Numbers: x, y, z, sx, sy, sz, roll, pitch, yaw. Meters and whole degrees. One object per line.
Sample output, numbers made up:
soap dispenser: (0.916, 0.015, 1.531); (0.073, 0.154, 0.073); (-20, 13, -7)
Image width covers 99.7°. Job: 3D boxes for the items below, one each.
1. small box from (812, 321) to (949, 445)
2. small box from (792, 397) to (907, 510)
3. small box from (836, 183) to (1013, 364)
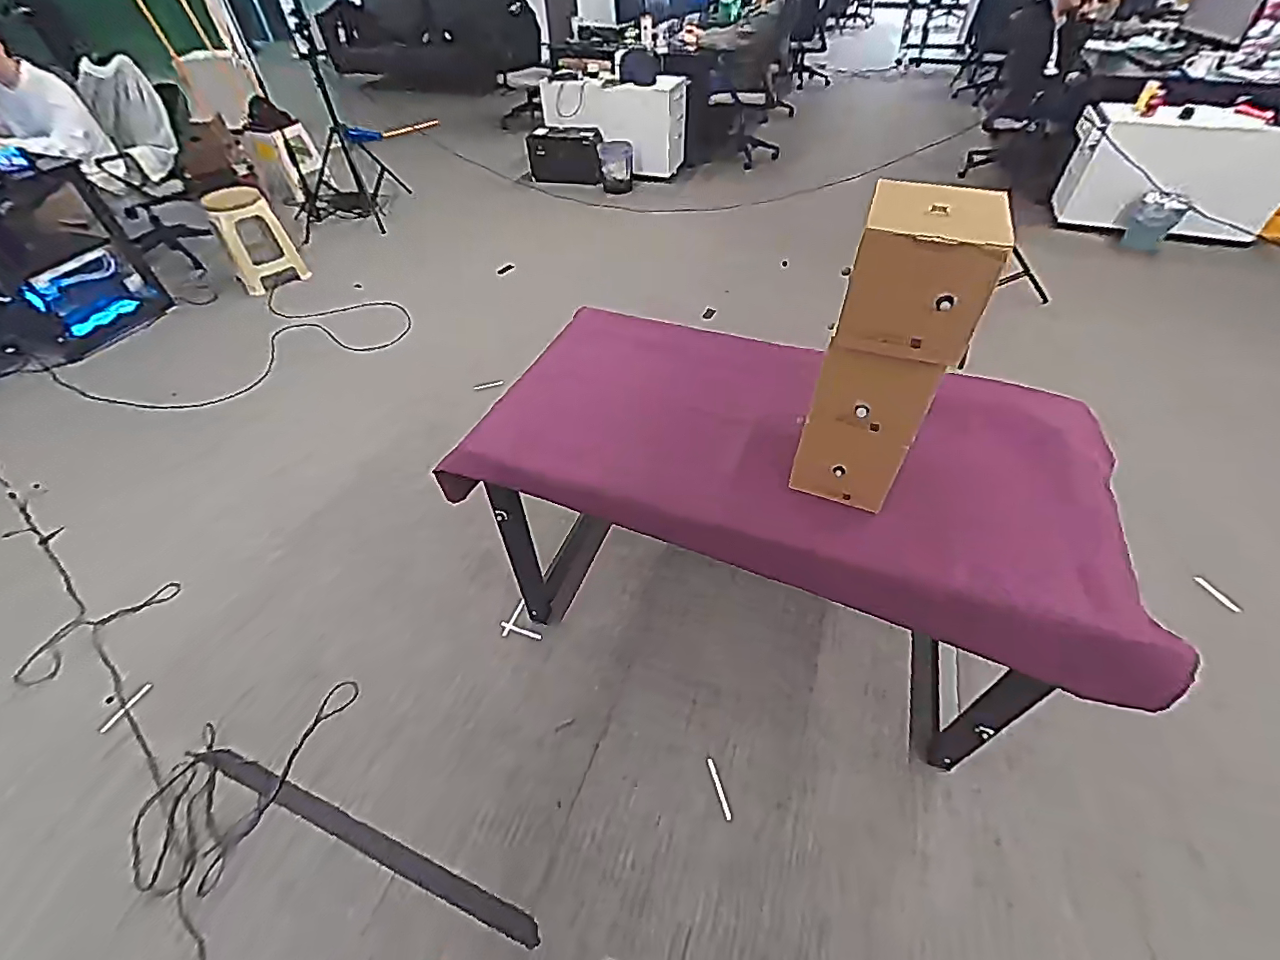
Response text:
small box: (0.389, -0.187, 0.877); (0.168, 0.176, 0.179); (17, 50, 17)
small box: (0.389, -0.073, 0.995); (0.168, 0.176, 0.179); (18, 49, 17)
small box: (0.380, -0.283, 0.745); (0.168, 0.176, 0.179); (15, 49, 14)
